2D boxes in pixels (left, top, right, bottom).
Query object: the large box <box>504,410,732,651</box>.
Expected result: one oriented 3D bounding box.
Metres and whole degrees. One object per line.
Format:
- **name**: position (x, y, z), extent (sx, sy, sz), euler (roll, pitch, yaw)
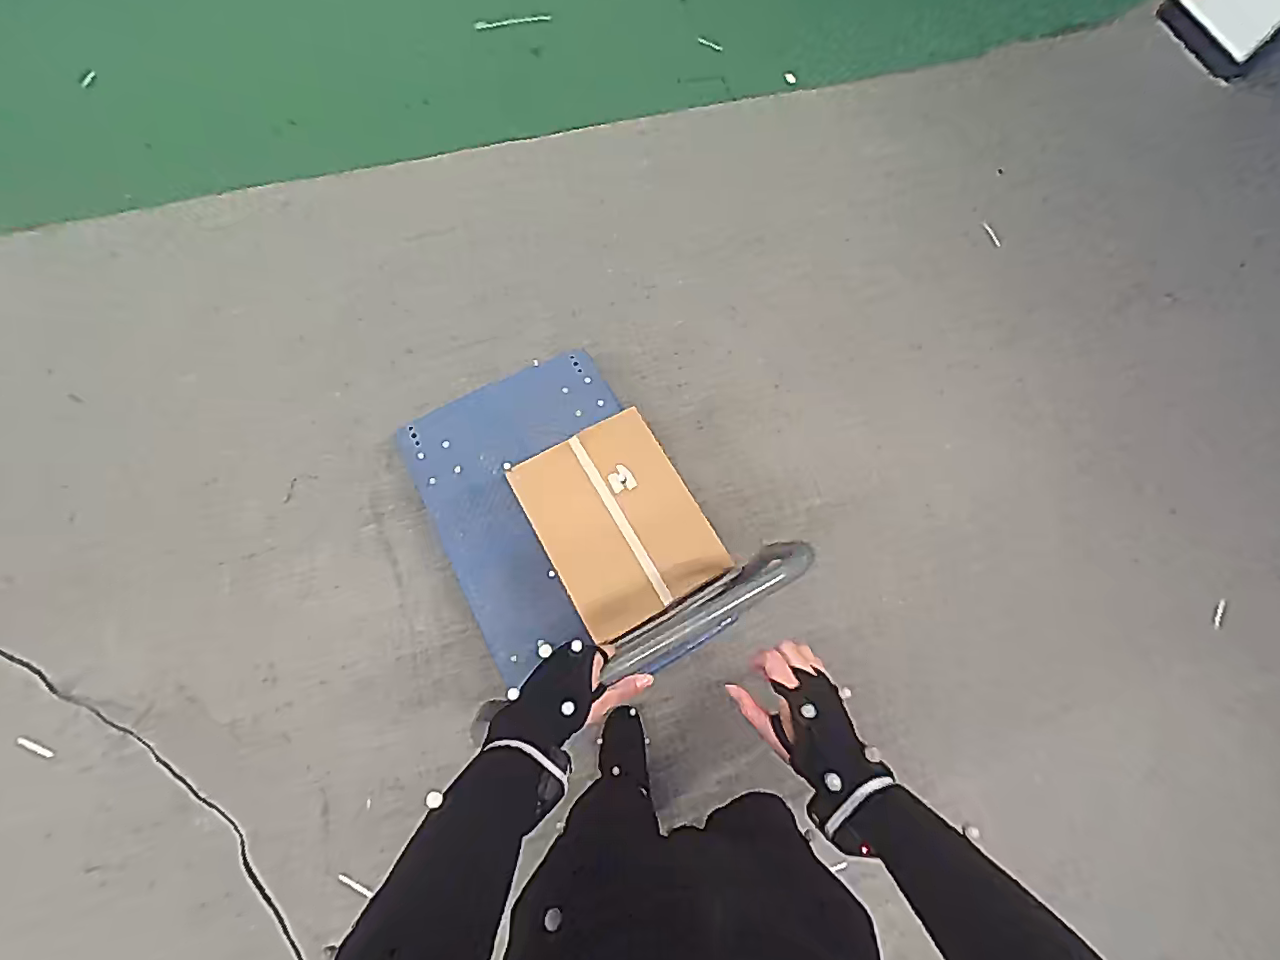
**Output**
- **large box**: position (-0.053, 0.128, 1.222), extent (0.320, 0.320, 0.408), euler (-28, 74, -13)
